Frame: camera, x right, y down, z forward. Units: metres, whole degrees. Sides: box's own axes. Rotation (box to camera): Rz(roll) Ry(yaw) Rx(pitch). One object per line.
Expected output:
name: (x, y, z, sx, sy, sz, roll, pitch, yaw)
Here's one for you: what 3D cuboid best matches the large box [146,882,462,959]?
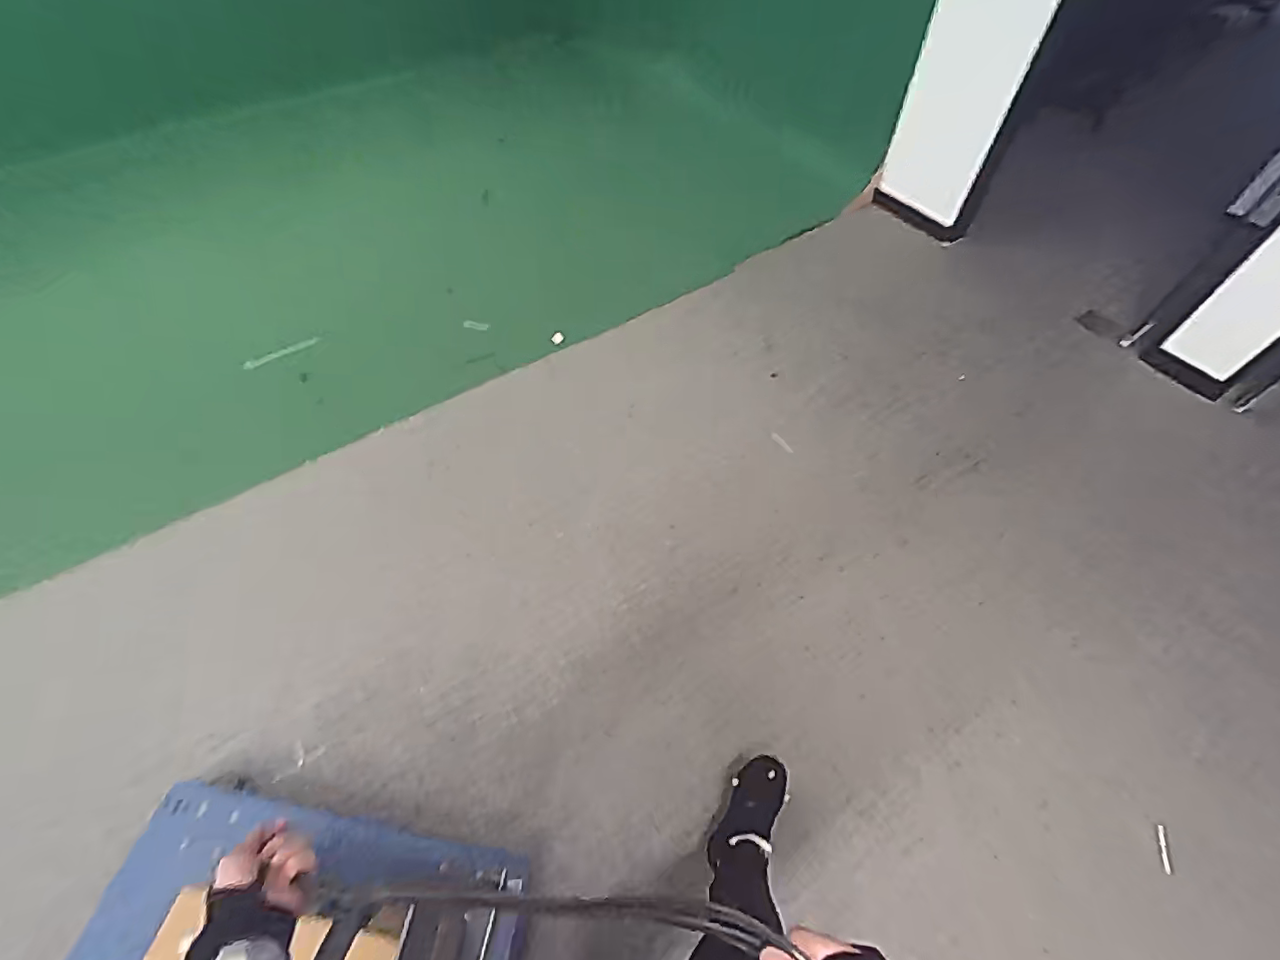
large box: (-0.576, 0.905, 0.903, 0.408, 0.320, 0.320, 7, 56, 8)
